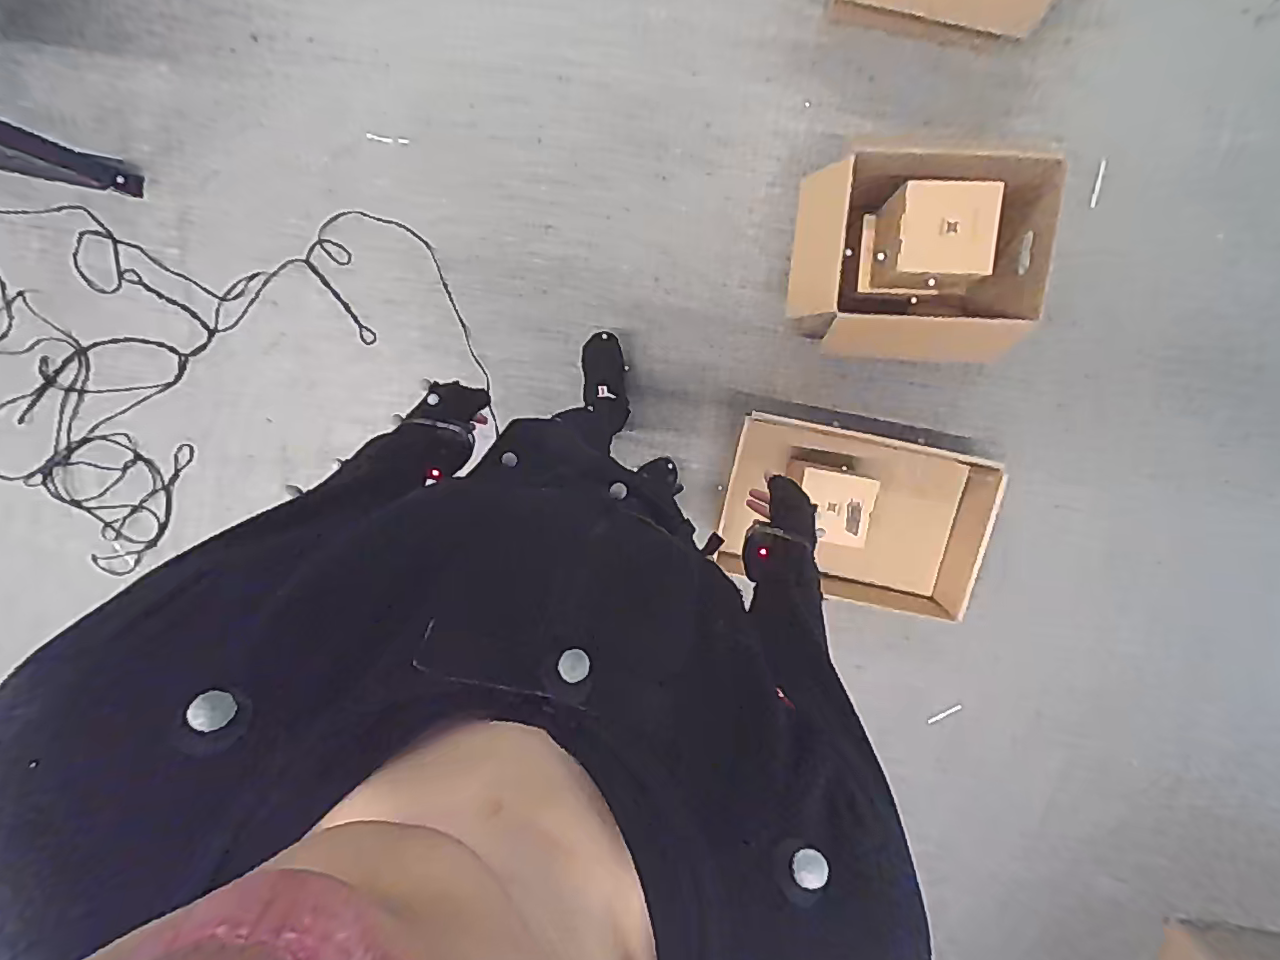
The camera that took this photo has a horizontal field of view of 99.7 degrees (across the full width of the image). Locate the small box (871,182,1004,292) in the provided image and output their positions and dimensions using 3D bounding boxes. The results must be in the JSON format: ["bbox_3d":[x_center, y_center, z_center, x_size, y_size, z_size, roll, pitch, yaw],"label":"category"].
[{"bbox_3d":[0.588,-0.483,1.094,0.179,0.176,0.168,4,99,4],"label":"small box"}]

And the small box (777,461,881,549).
[{"bbox_3d":[0.449,0.054,1.314,0.179,0.176,0.168,11,99,1],"label":"small box"}]
